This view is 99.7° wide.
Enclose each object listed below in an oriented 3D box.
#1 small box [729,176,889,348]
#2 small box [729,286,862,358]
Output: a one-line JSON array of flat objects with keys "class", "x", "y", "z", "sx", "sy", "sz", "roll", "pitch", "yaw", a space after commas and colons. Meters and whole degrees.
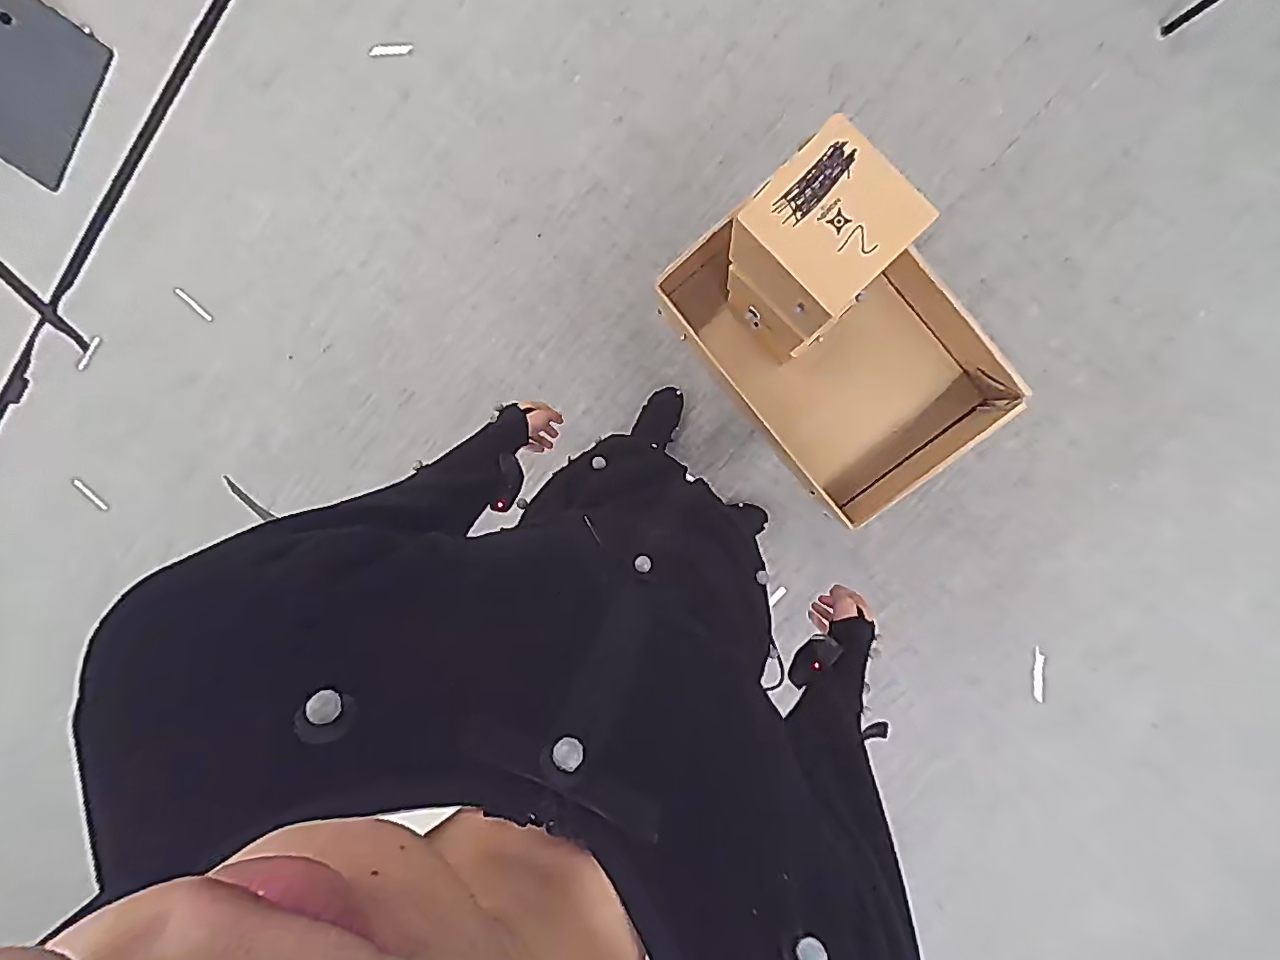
[{"class": "small box", "x": 0.260, "y": -0.341, "z": 0.886, "sx": 0.168, "sy": 0.176, "sz": 0.179, "roll": 45, "pitch": 100, "yaw": 0}, {"class": "small box", "x": 0.287, "y": -0.354, "z": 1.047, "sx": 0.168, "sy": 0.176, "sz": 0.179, "roll": -43, "pitch": 92, "yaw": 11}]
